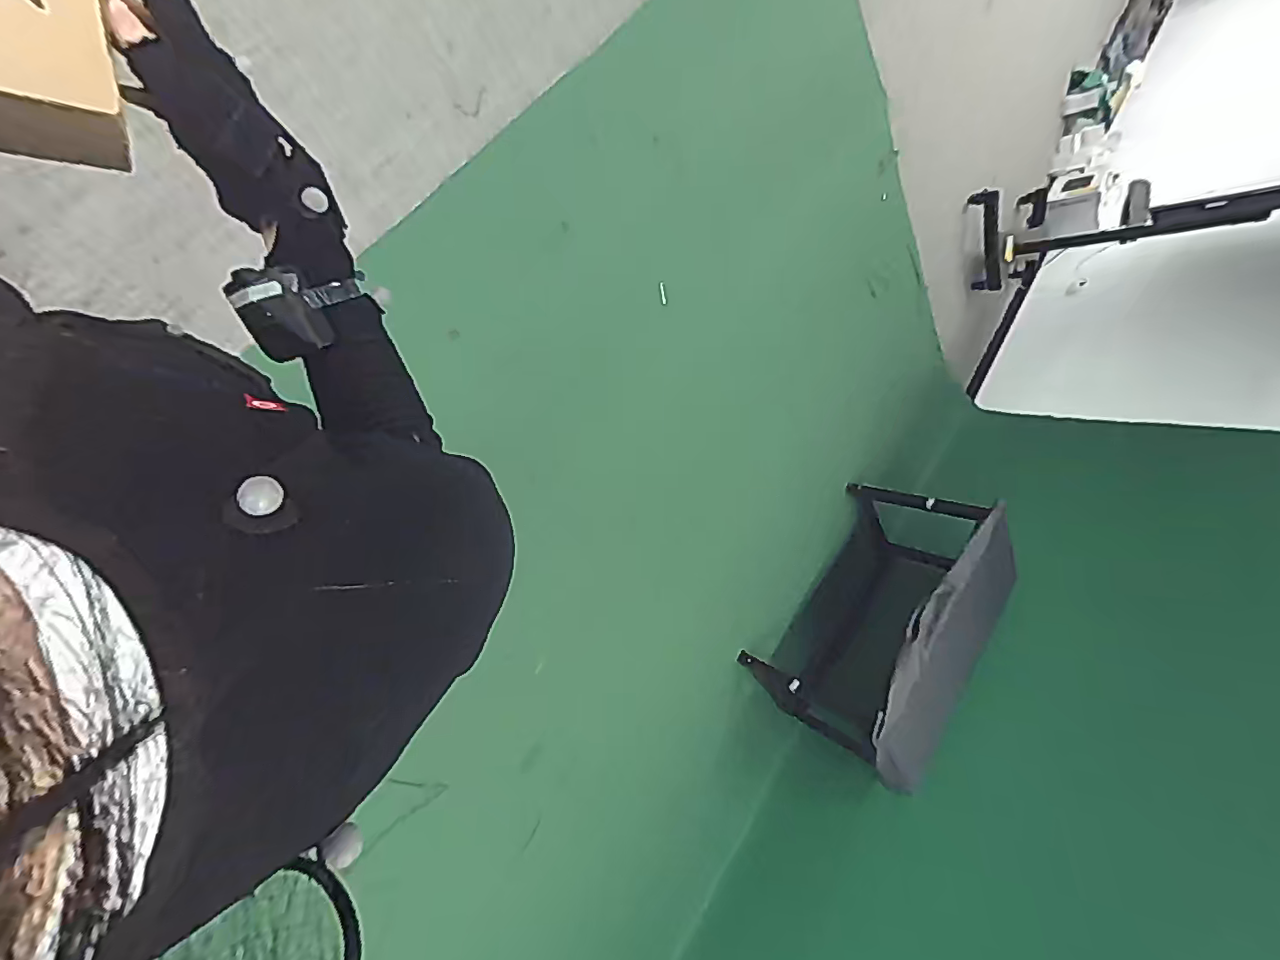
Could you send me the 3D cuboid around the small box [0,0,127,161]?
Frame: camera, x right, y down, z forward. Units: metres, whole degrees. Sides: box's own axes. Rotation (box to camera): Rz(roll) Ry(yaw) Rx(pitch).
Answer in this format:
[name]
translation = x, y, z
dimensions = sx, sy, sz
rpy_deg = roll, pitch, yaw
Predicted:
[small box]
translation = -0.415, -0.295, 0.294
dimensions = 0.179, 0.176, 0.168
rpy_deg = -11, 110, -40
